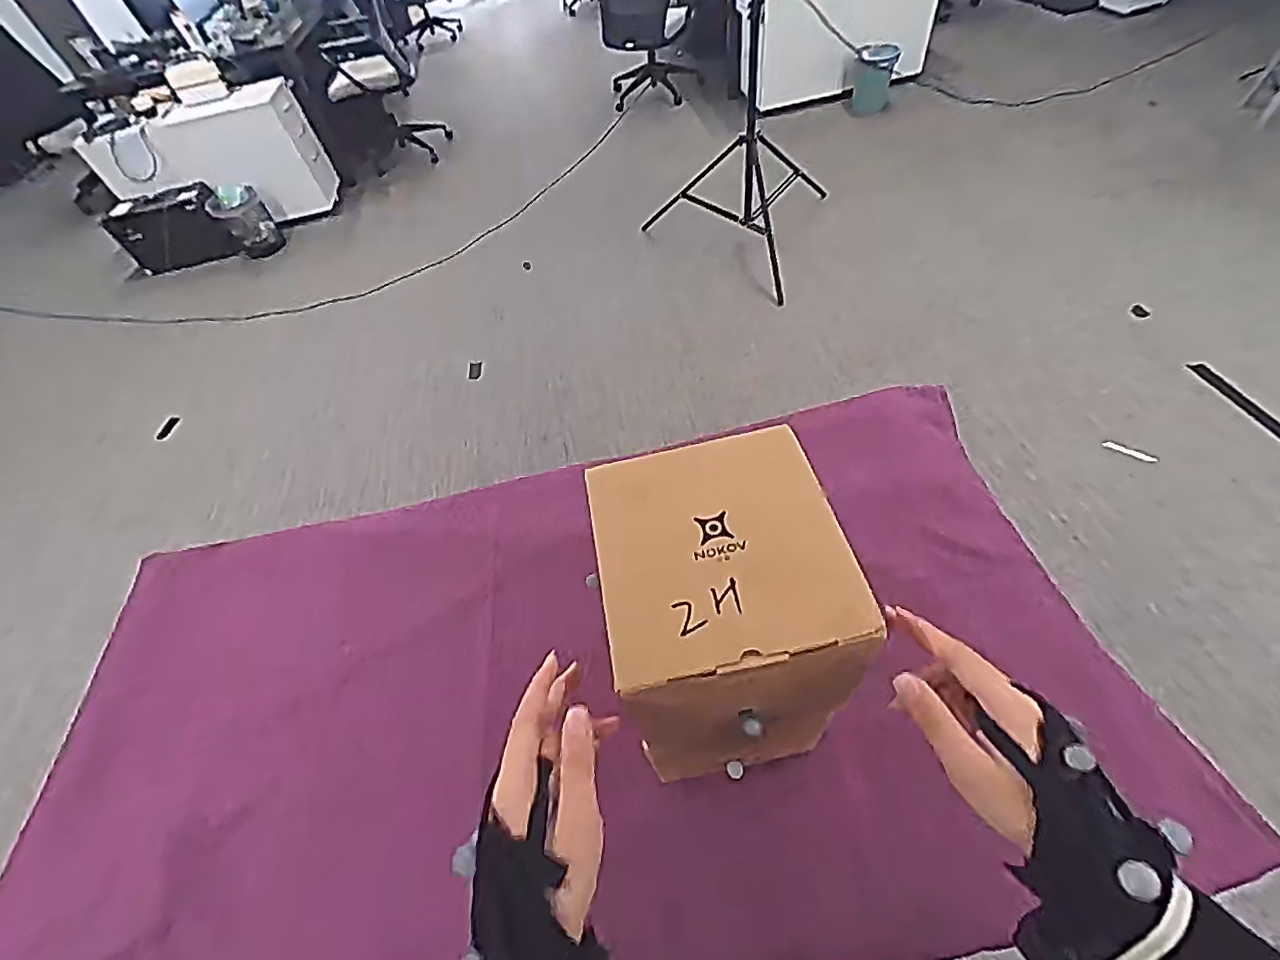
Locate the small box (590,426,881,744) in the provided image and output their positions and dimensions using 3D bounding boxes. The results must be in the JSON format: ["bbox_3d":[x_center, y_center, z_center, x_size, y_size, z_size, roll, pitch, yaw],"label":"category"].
[{"bbox_3d":[0.062,0.088,0.435,0.168,0.176,0.179,-13,51,1],"label":"small box"}]

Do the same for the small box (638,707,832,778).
[{"bbox_3d":[0.079,0.189,0.566,0.168,0.176,0.179,-12,52,0],"label":"small box"}]
